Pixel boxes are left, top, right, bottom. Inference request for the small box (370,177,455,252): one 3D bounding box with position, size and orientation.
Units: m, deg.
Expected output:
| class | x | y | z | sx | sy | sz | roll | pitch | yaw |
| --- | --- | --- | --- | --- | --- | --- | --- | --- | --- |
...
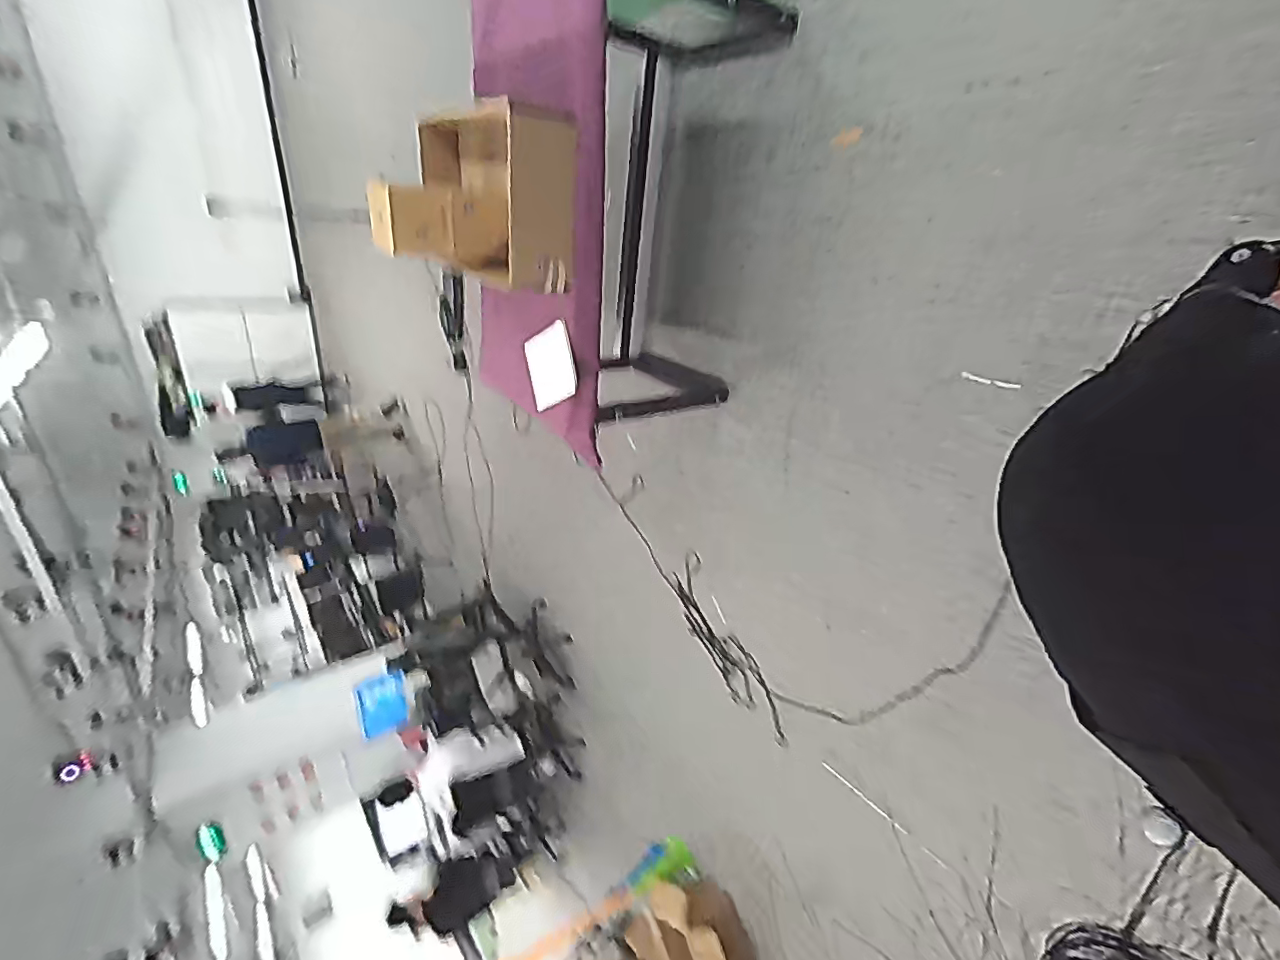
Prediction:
| class | x | y | z | sx | sy | sz | roll | pitch | yaw |
| --- | --- | --- | --- | --- | --- | --- | --- | --- | --- |
| small box | -0.616 | -0.727 | 1.483 | 0.179 | 0.176 | 0.168 | 35 | 128 | 41 |
